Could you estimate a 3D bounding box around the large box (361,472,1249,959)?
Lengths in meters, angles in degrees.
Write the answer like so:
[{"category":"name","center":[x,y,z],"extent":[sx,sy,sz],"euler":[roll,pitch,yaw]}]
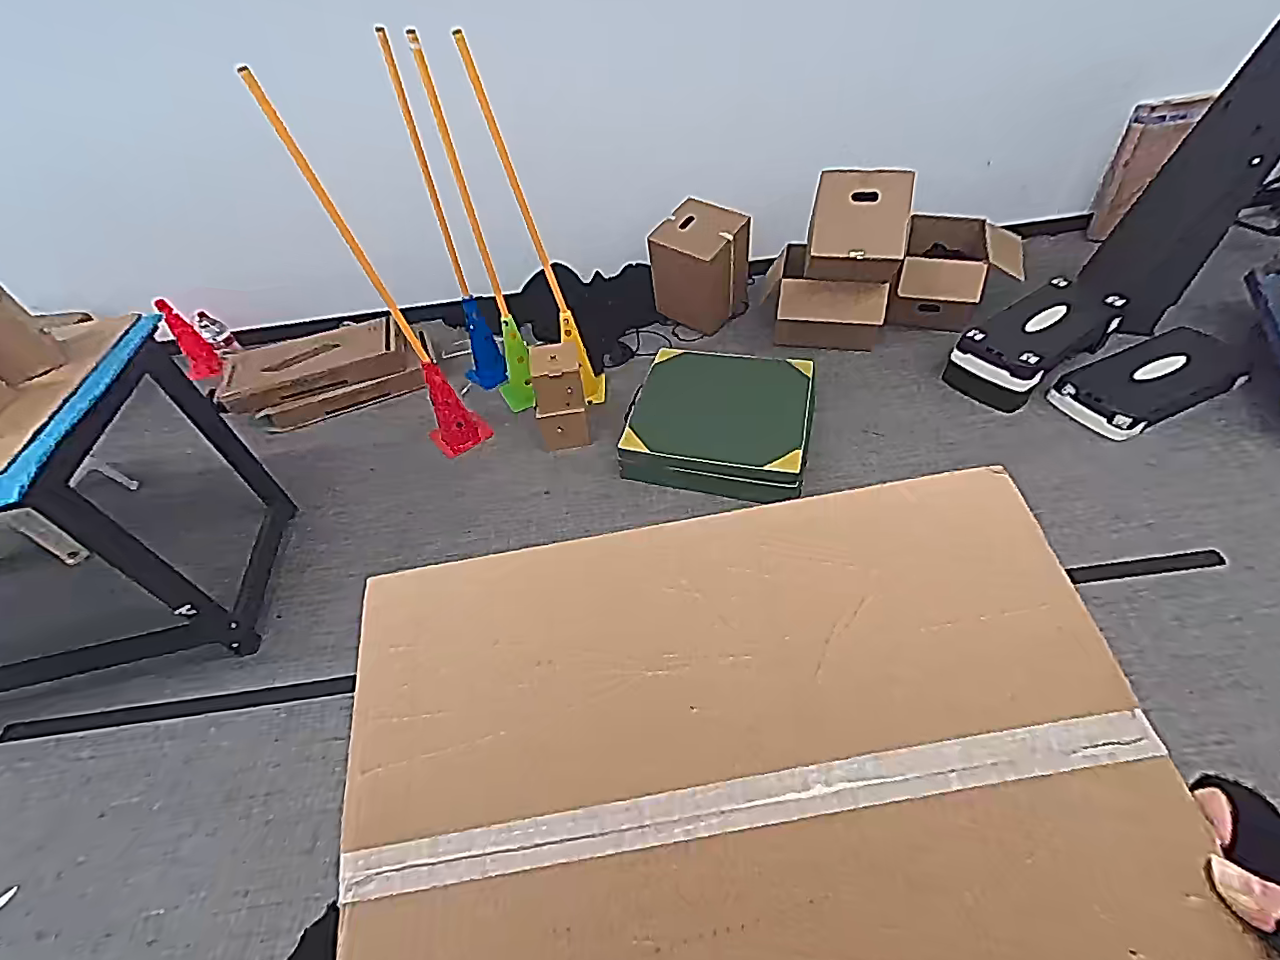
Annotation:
[{"category":"large box","center":[0.066,0.234,0.411],"extent":[0.408,0.320,0.320],"euler":[-10,62,1]}]
